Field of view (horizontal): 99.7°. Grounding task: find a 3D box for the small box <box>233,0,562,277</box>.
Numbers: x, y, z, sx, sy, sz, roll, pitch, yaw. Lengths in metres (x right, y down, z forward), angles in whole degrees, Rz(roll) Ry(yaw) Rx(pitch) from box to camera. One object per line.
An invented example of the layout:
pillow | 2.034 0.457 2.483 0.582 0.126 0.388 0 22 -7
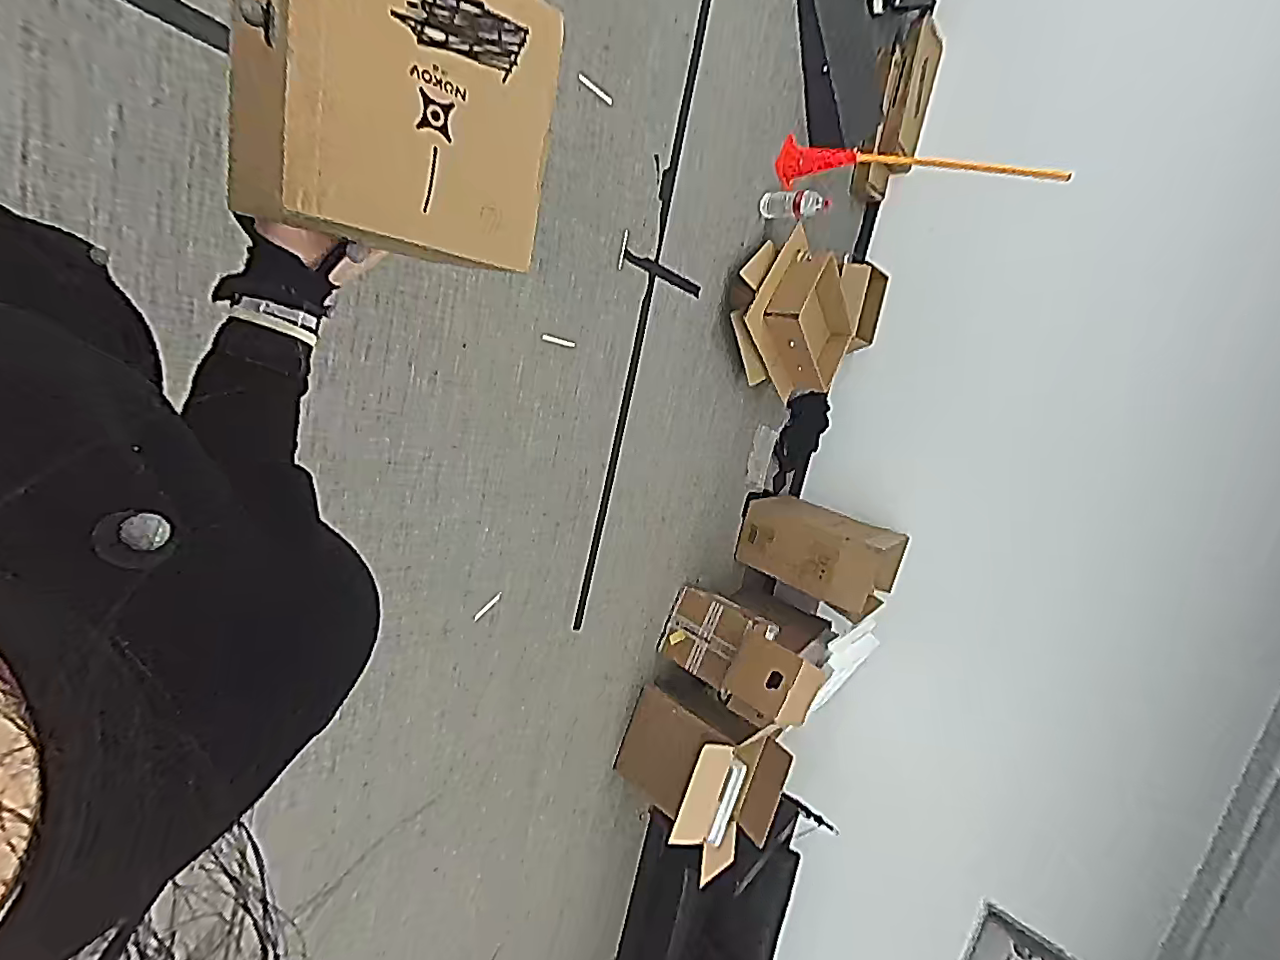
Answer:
small box | -0.184 -0.265 0.399 0.168 0.176 0.179 -3 112 -46
